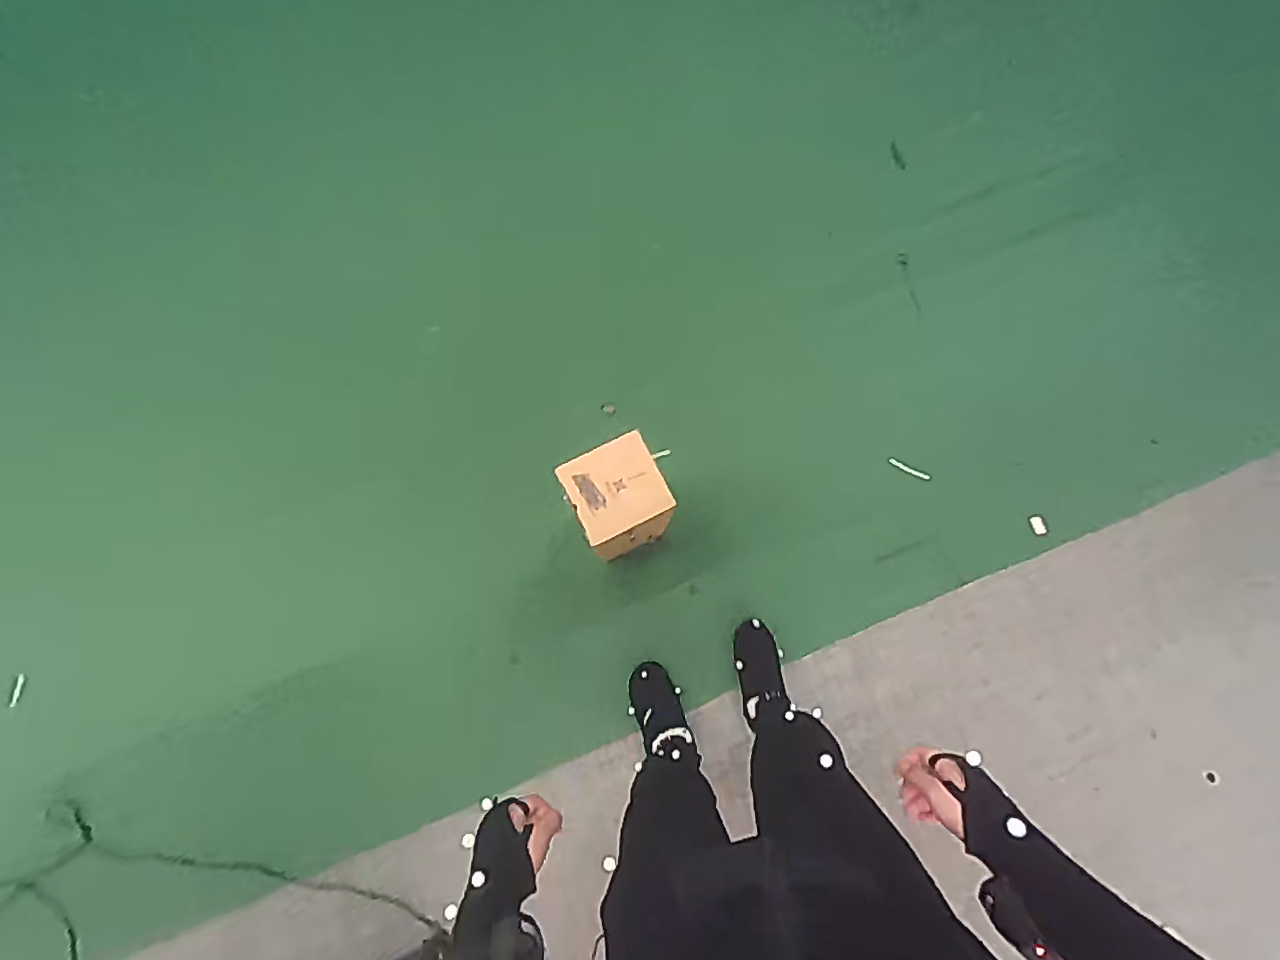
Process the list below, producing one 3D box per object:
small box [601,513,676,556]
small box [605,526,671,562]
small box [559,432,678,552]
[{"bbox_3d":[-0.035,0.064,1.238,0.179,0.176,0.168,-24,79,-5],"label":"small box"},{"bbox_3d":[-0.037,0.100,1.397,0.179,0.176,0.168,-25,79,-6],"label":"small box"},{"bbox_3d":[-0.040,0.033,1.078,0.179,0.176,0.168,-26,80,-6],"label":"small box"}]
